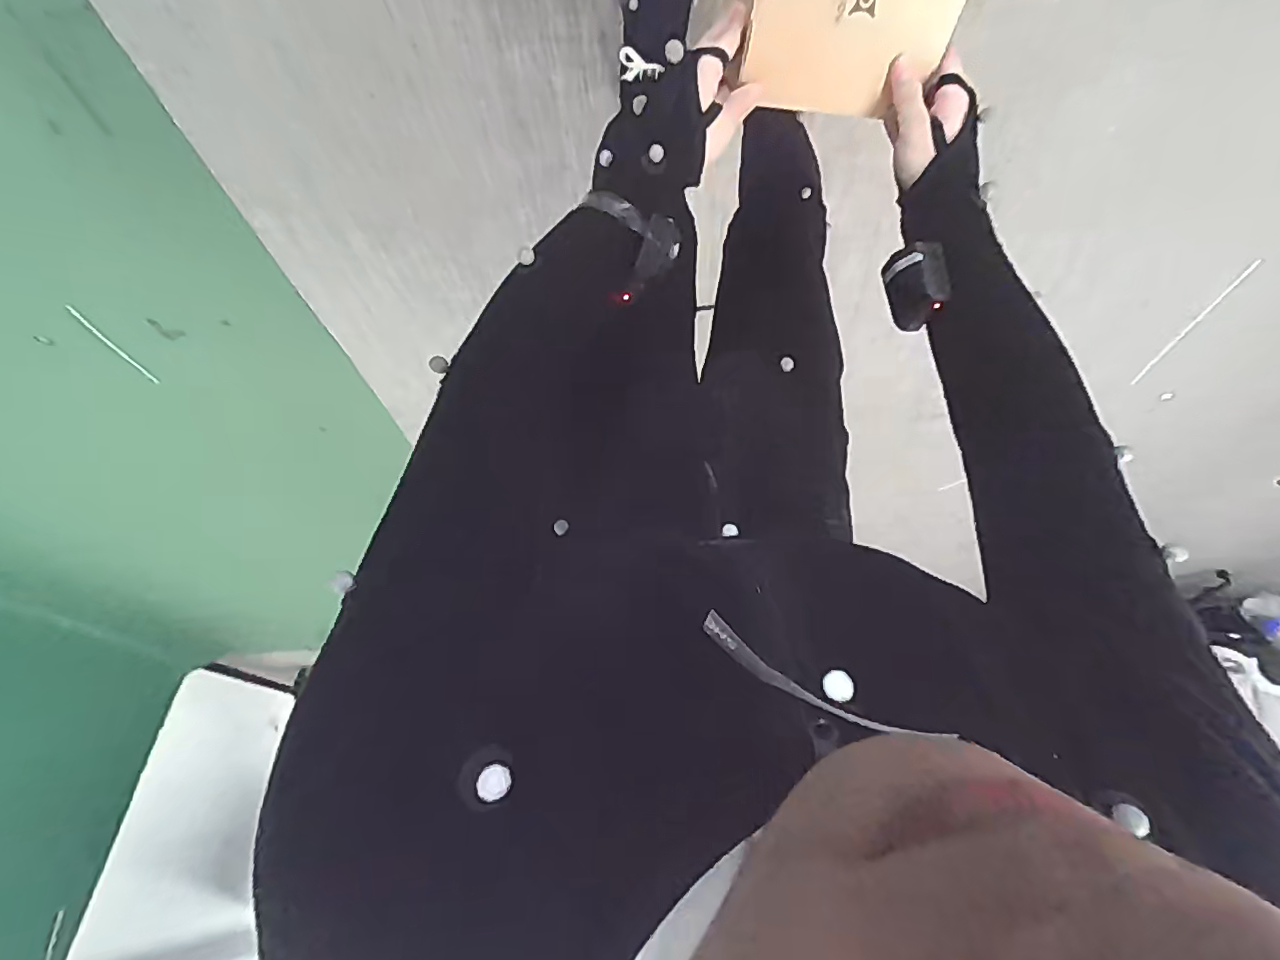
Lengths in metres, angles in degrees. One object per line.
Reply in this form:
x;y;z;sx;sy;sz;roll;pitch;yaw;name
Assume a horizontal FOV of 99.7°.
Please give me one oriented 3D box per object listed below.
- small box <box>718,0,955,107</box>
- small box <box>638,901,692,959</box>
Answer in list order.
0.179;-0.471;0.498;0.179;0.176;0.168;3;139;-4;small box
0.084;1.554;1.844;0.179;0.176;0.168;-1;148;2;small box
